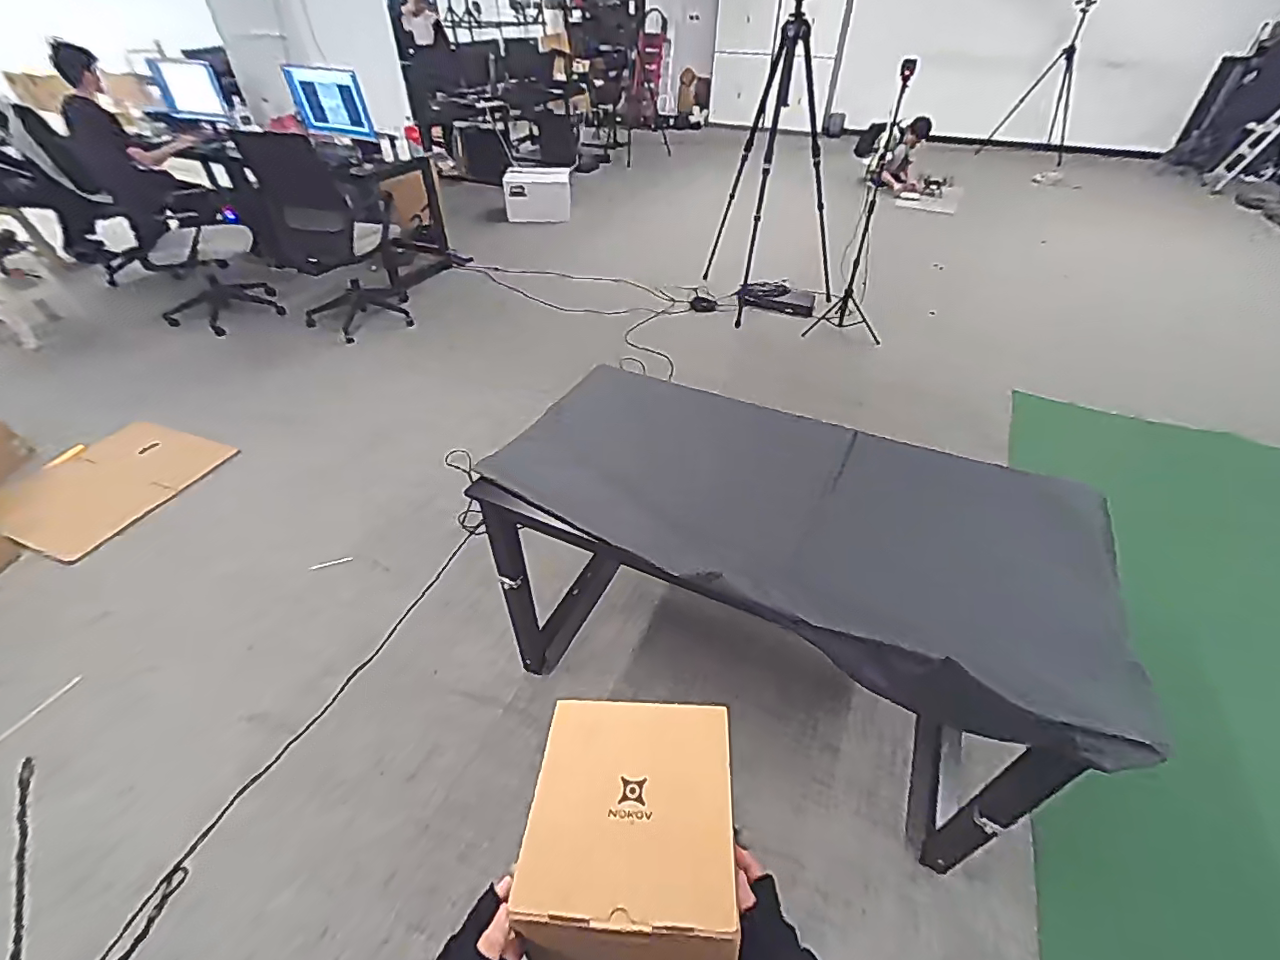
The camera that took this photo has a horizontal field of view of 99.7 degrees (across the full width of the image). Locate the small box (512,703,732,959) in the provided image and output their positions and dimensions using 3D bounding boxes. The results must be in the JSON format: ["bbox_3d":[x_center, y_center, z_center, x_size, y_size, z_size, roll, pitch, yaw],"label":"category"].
[{"bbox_3d":[-0.004,0.338,0.503,0.168,0.176,0.179,1,35,6],"label":"small box"}]
